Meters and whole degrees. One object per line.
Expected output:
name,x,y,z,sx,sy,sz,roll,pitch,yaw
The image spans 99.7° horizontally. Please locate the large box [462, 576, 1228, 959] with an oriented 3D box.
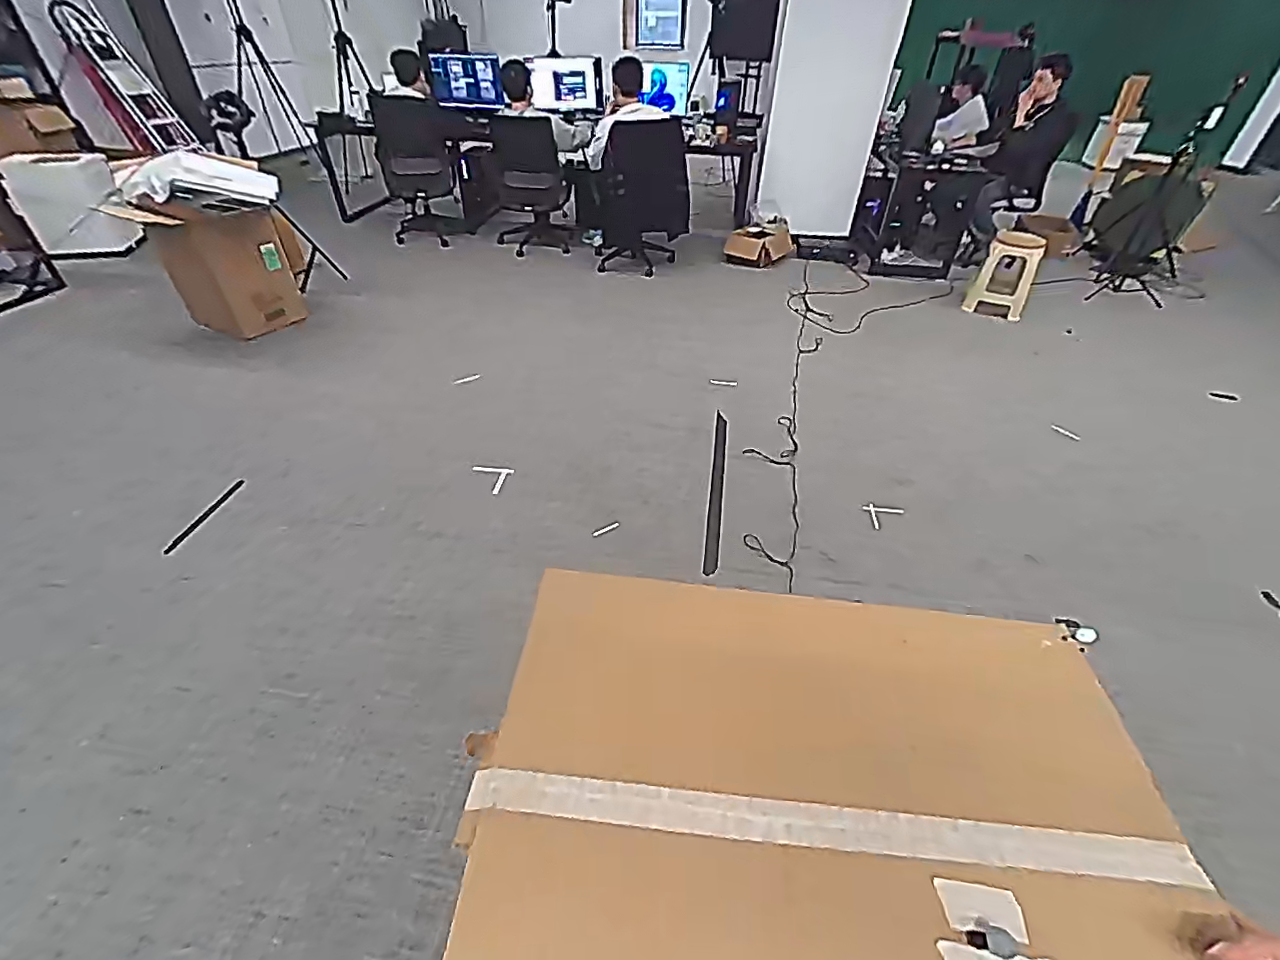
large box,0.101,0.307,0.420,0.408,0.320,0.320,7,45,0
